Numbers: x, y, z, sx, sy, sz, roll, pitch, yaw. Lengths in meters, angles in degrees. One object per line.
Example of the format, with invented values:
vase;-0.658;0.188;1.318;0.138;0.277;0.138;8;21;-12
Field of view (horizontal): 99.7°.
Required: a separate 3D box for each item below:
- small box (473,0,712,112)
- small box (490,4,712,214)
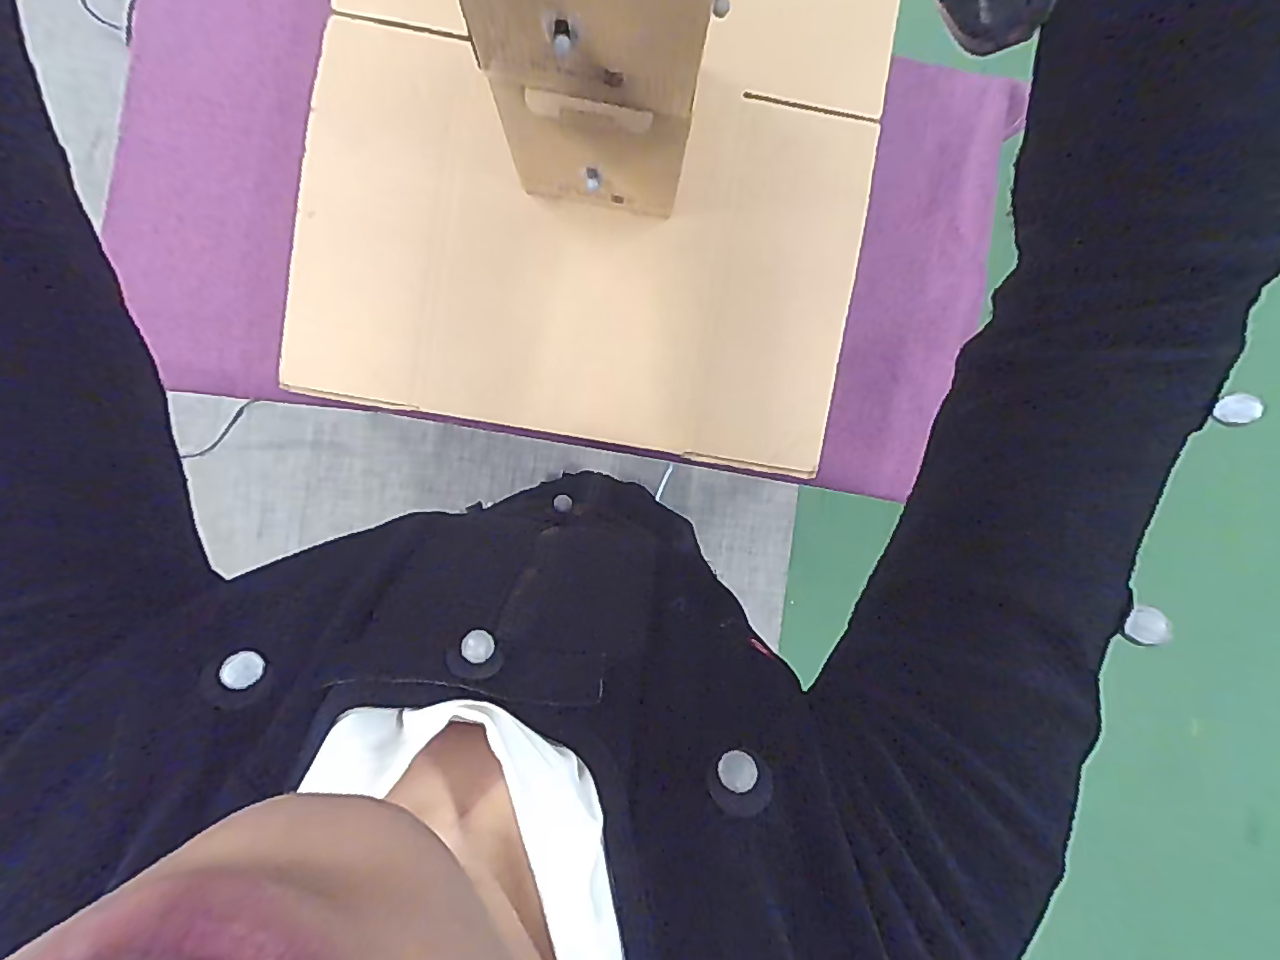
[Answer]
small box;-0.023;-0.389;0.345;0.168;0.176;0.179;10;89;-3
small box;-0.028;-0.388;0.508;0.168;0.176;0.179;10;89;-2
